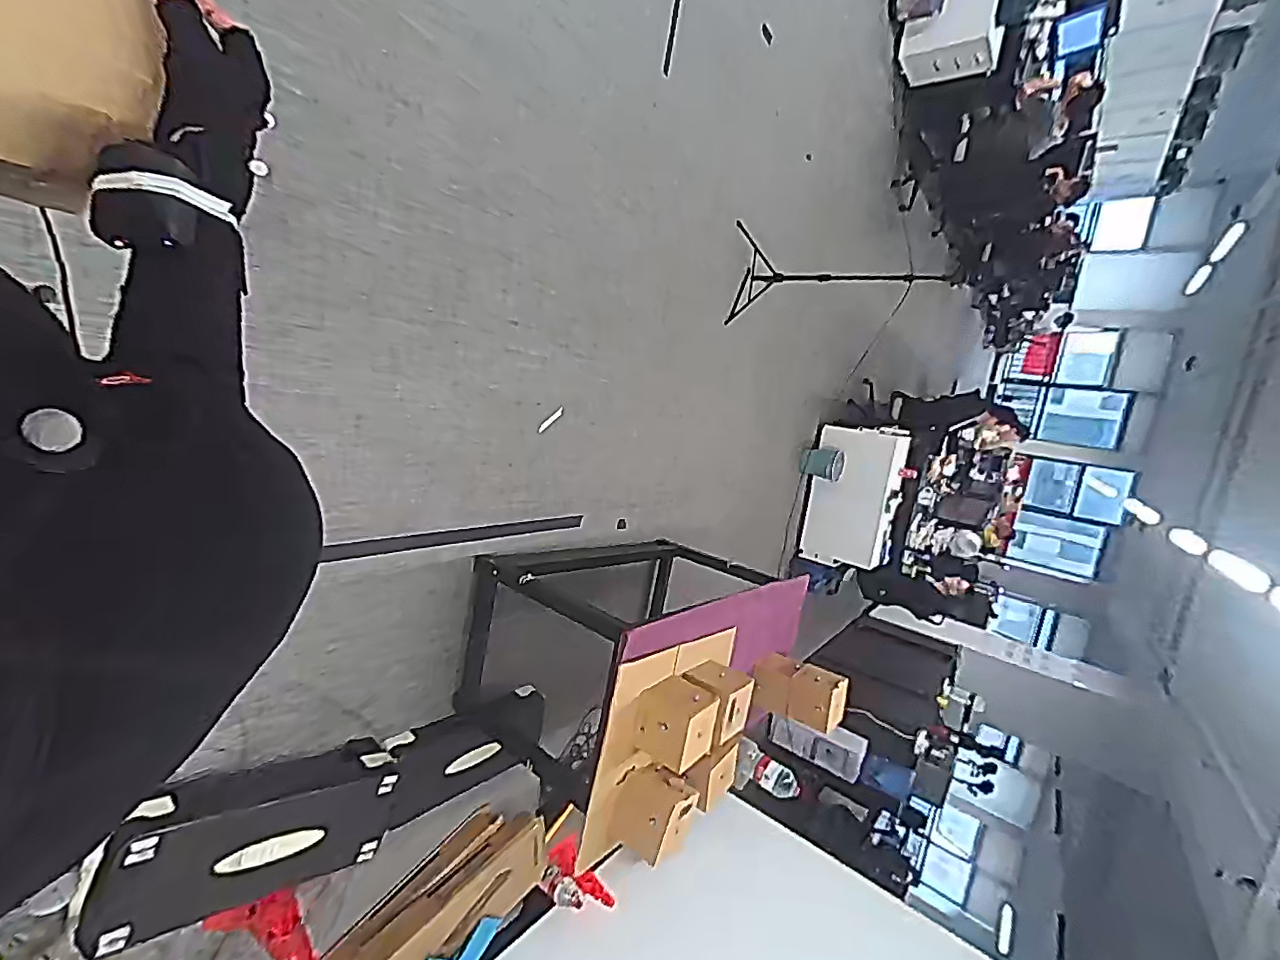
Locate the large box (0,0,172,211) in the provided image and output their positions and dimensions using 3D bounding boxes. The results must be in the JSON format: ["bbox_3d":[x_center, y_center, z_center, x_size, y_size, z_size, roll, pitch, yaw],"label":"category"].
[{"bbox_3d":[-0.603,-0.405,0.344,0.408,0.320,0.320,-2,108,-56],"label":"large box"}]
